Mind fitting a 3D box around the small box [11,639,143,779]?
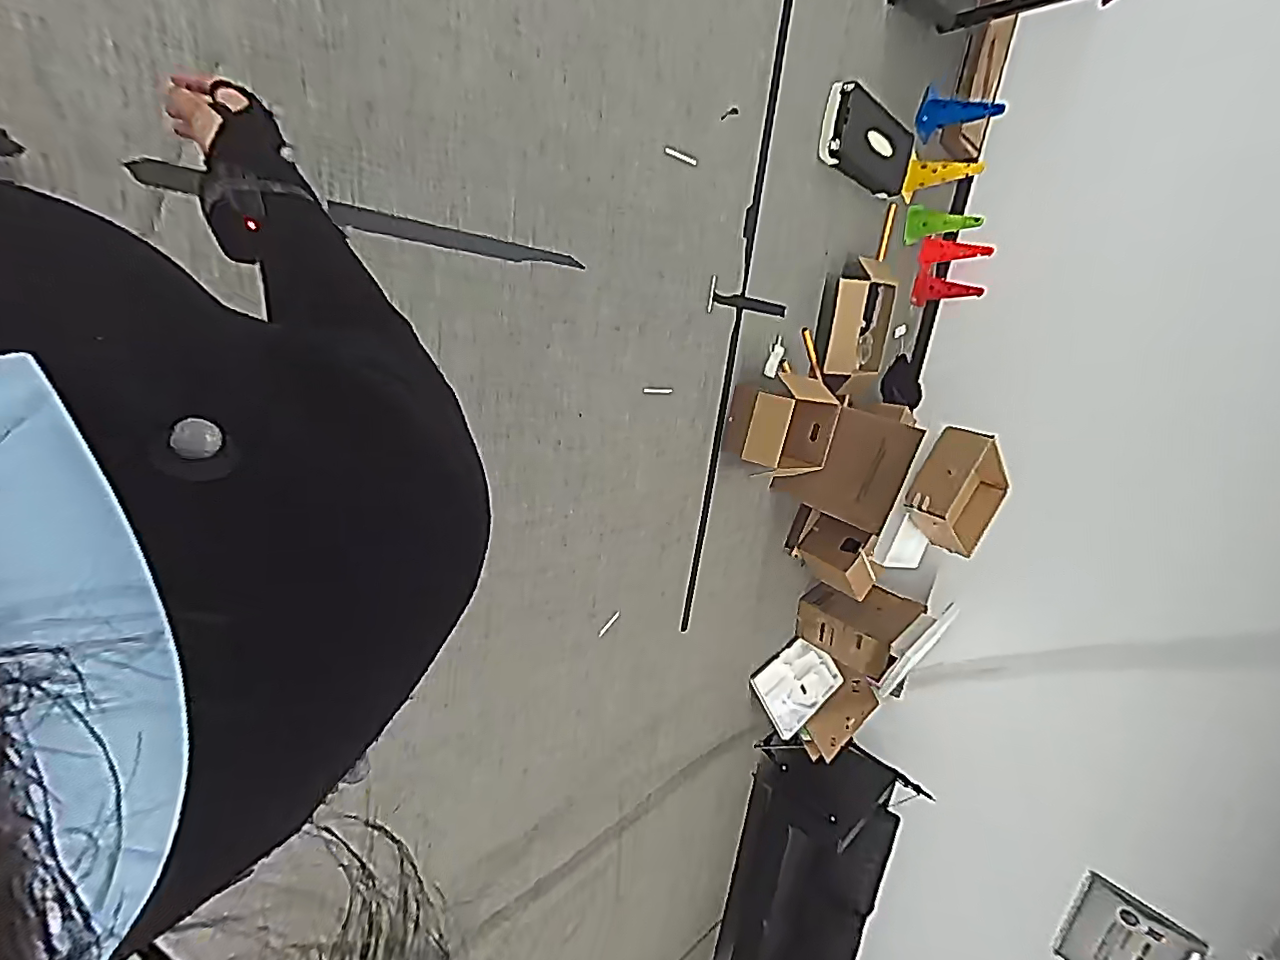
[{"bbox_3d":[-1.161,0.465,1.127,0.168,0.176,0.179,-11,114,-42],"label":"small box"}]
